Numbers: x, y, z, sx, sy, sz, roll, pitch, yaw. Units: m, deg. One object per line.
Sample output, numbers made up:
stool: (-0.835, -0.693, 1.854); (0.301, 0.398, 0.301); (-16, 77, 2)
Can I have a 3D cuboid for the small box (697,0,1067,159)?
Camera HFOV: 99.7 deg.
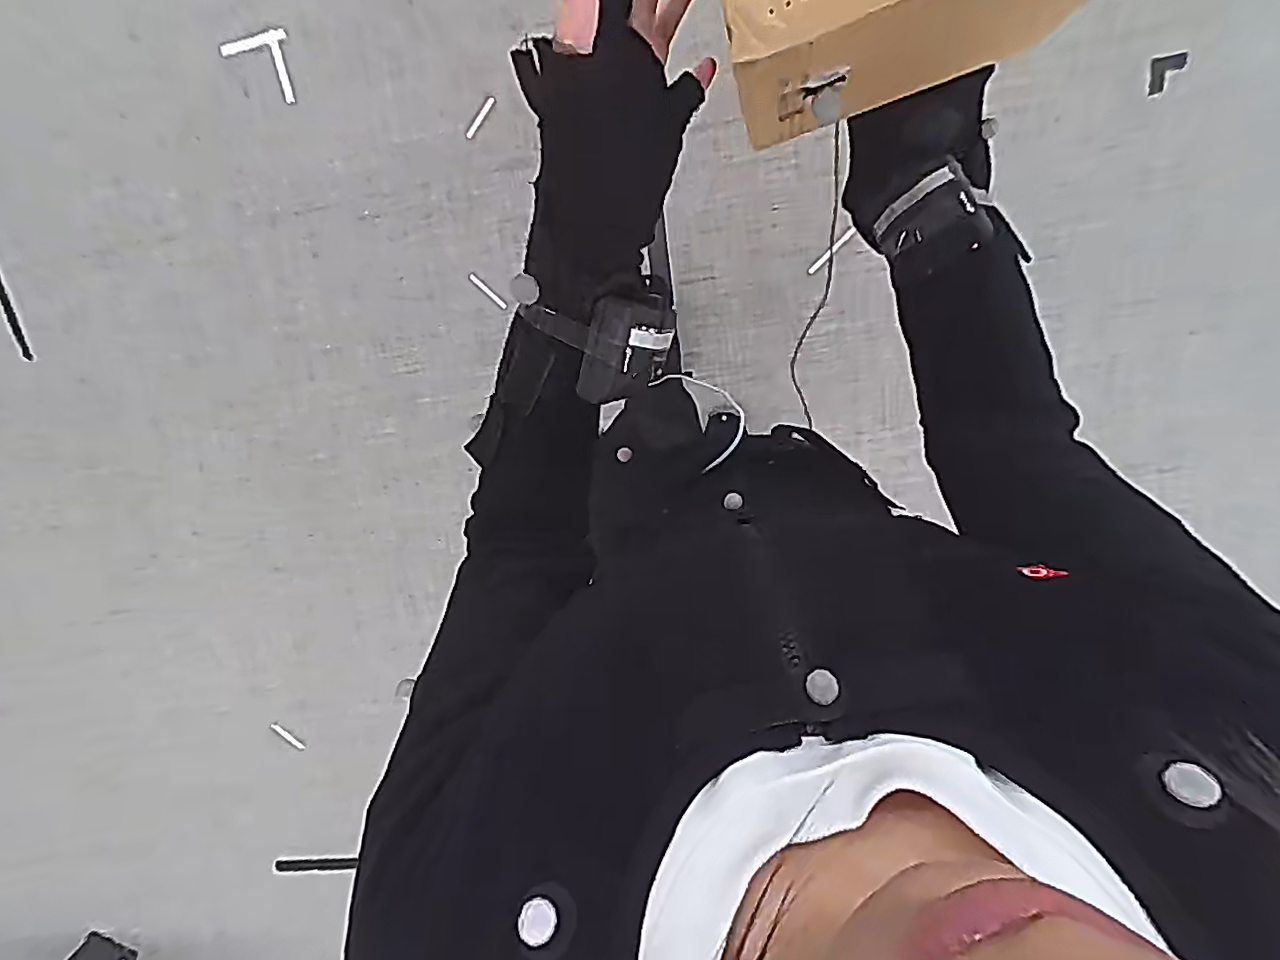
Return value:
small box: (0.102, -0.289, 0.254); (0.176, 0.168, 0.179); (-11, 106, 18)
